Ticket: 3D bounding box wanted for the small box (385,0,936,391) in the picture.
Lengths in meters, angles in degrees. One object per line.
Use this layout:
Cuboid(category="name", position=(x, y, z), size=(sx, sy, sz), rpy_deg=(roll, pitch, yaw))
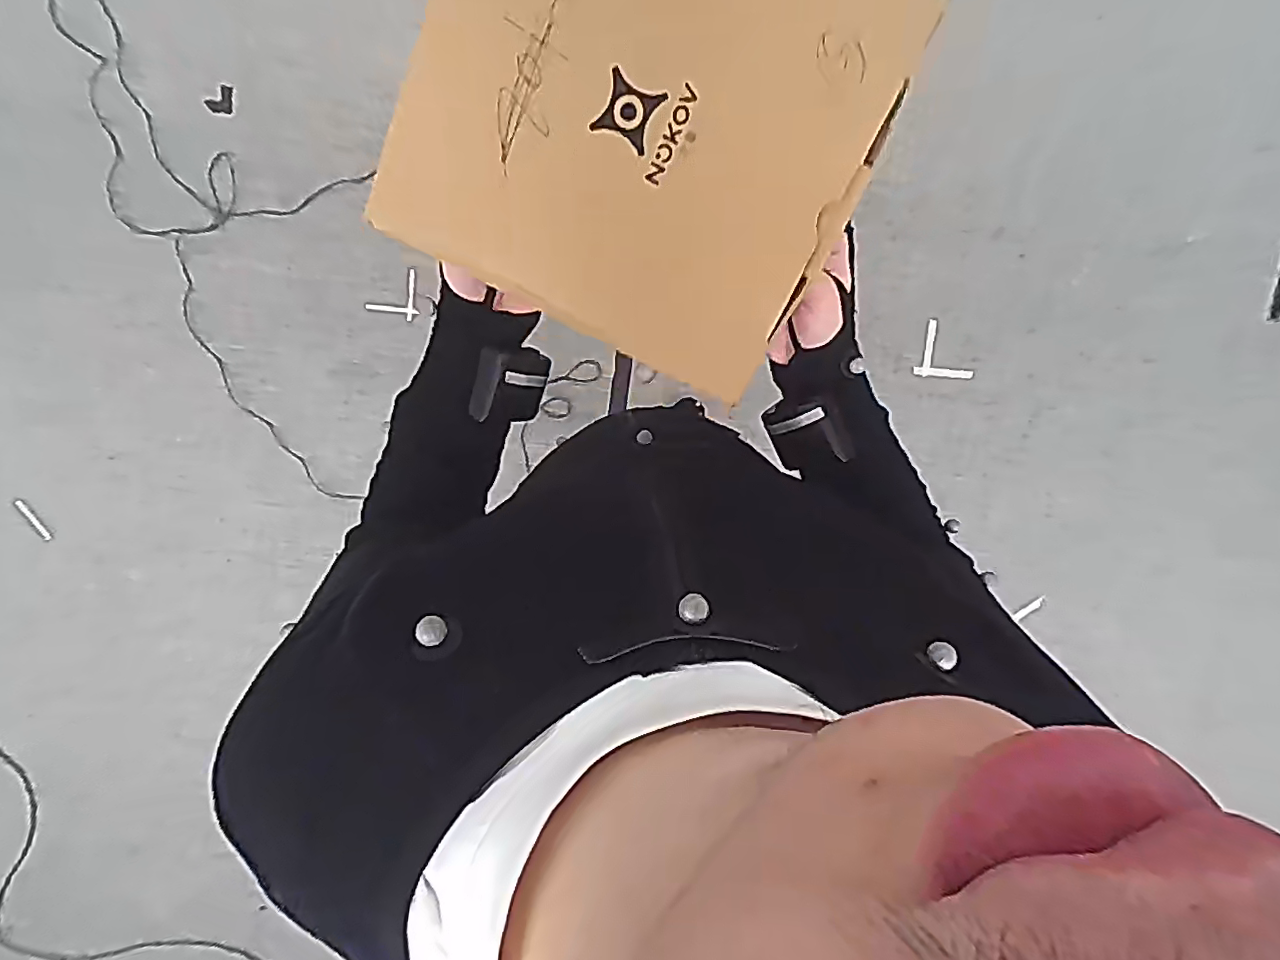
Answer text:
Cuboid(category="small box", position=(0.006, -0.166, 0.294), size=(0.179, 0.176, 0.168), rpy_deg=(25, 105, -3))
